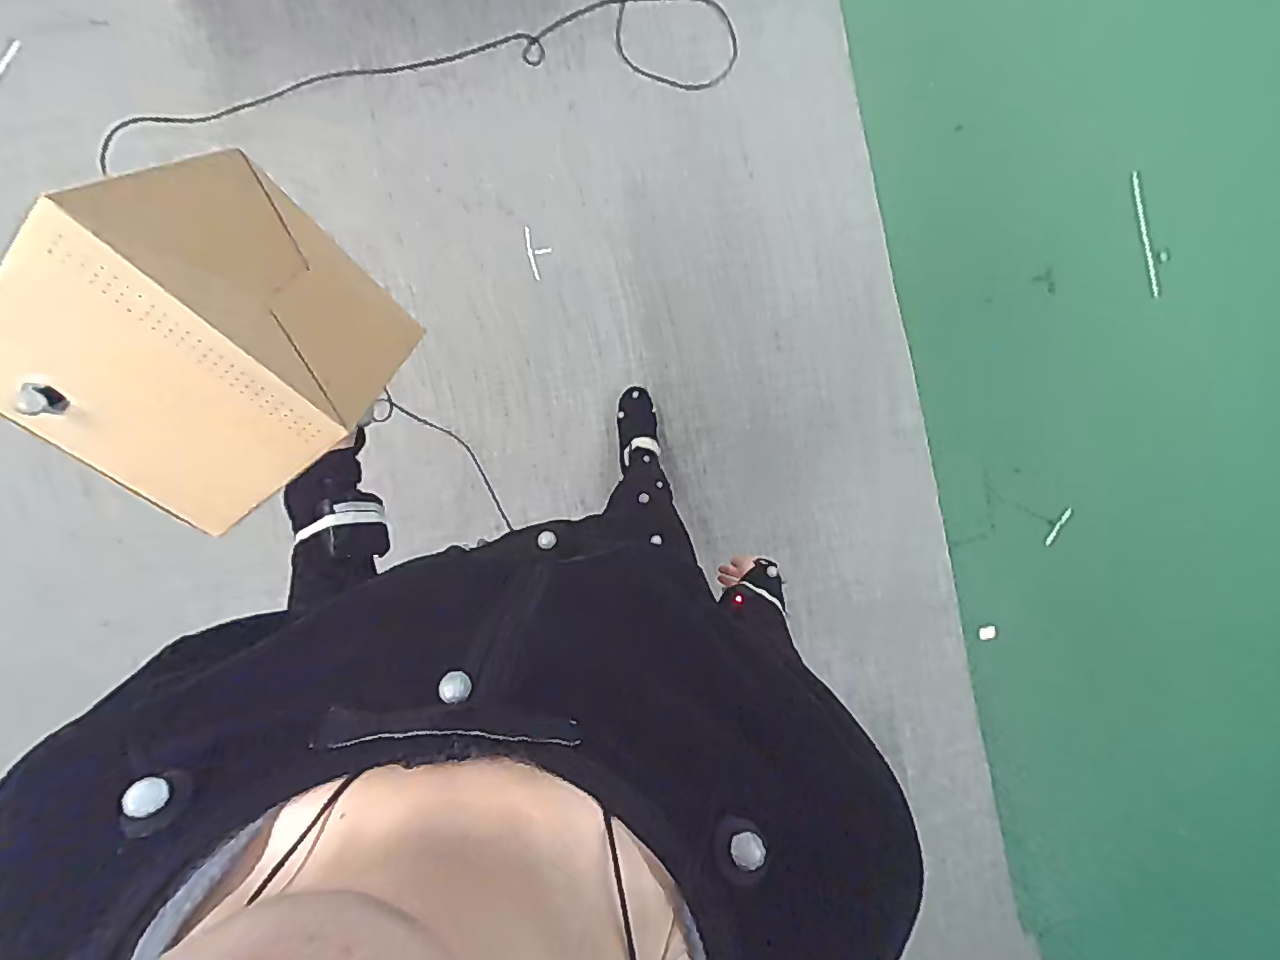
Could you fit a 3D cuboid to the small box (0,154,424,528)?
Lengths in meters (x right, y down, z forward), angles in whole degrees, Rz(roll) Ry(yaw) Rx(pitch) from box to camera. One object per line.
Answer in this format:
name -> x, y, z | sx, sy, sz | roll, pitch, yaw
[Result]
small box -> -0.301, -0.103, 0.403 | 0.176, 0.168, 0.179 | -29, 123, 22
